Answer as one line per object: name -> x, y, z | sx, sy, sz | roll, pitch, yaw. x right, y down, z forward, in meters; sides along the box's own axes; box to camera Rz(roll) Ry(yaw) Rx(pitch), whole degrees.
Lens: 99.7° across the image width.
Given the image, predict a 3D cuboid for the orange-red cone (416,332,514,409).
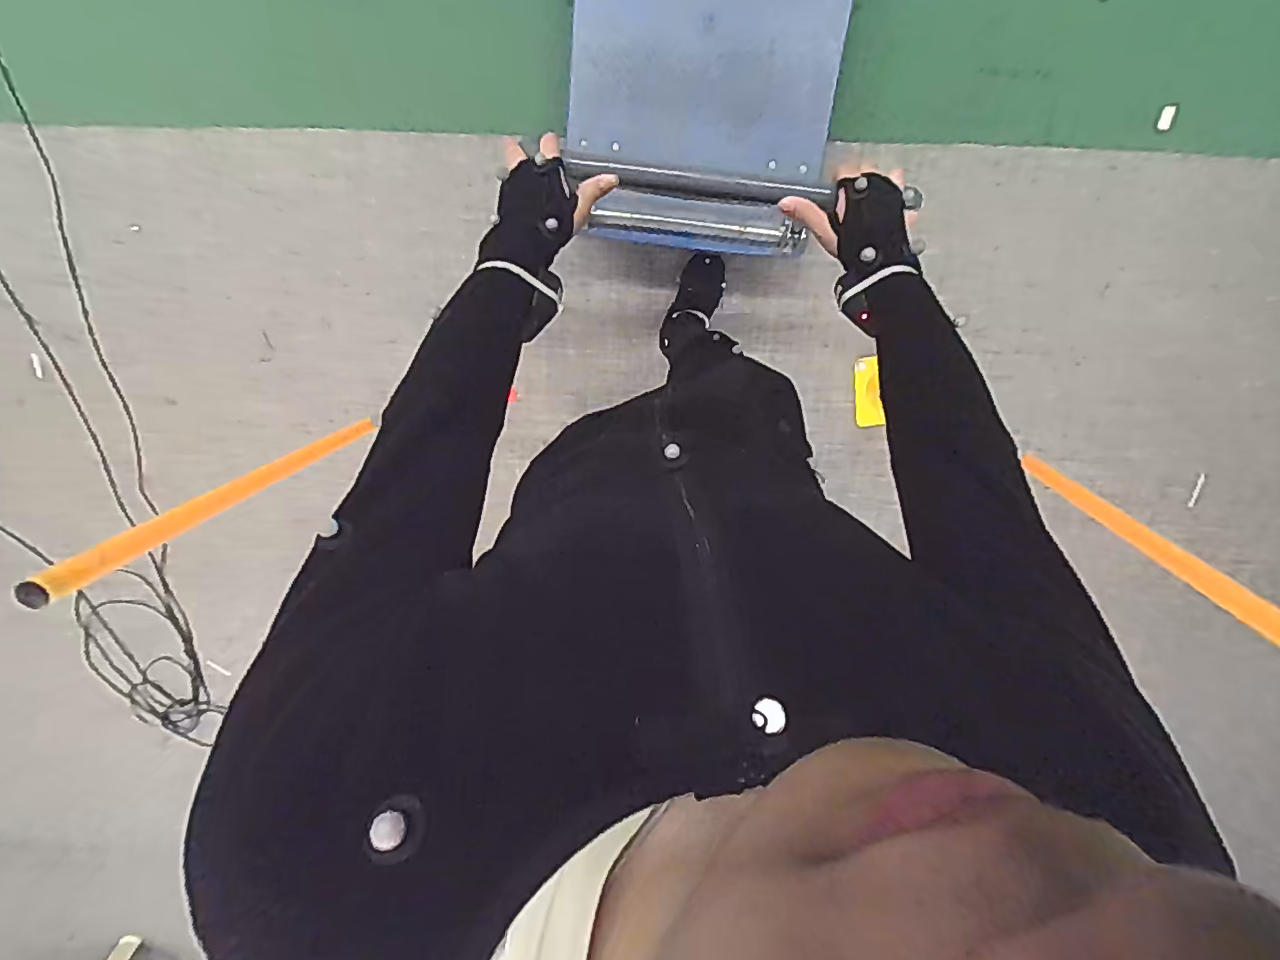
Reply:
orange-red cone -> -0.480, -0.254, 1.381 | 0.199, 0.360, 0.198 | -11, 108, 7
